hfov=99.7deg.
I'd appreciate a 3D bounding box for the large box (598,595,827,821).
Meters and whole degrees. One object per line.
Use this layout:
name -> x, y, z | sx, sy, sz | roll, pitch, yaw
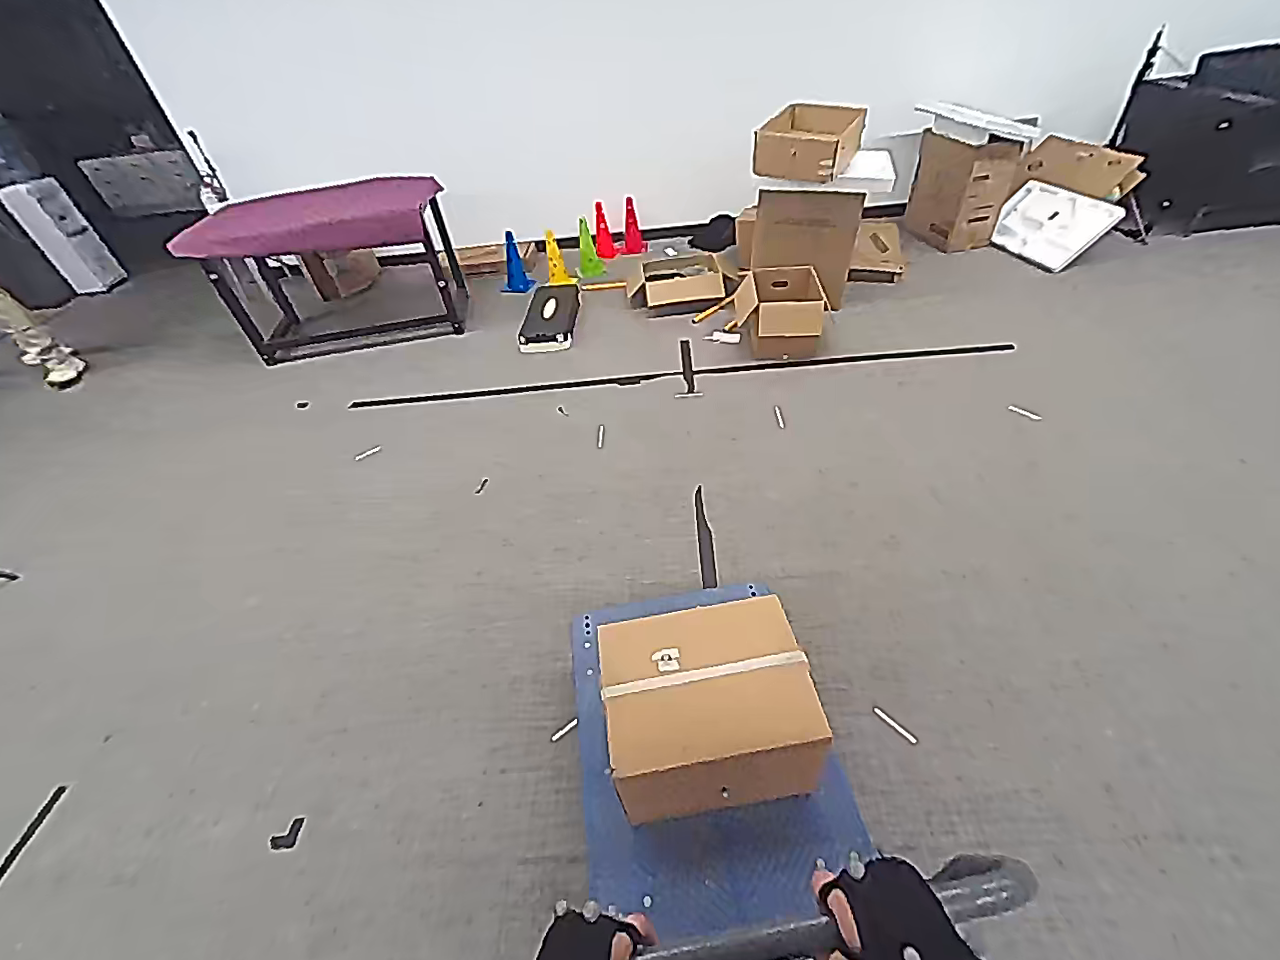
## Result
large box -> 0.144, 0.501, 1.189 | 0.408, 0.320, 0.320 | -11, 43, -2
